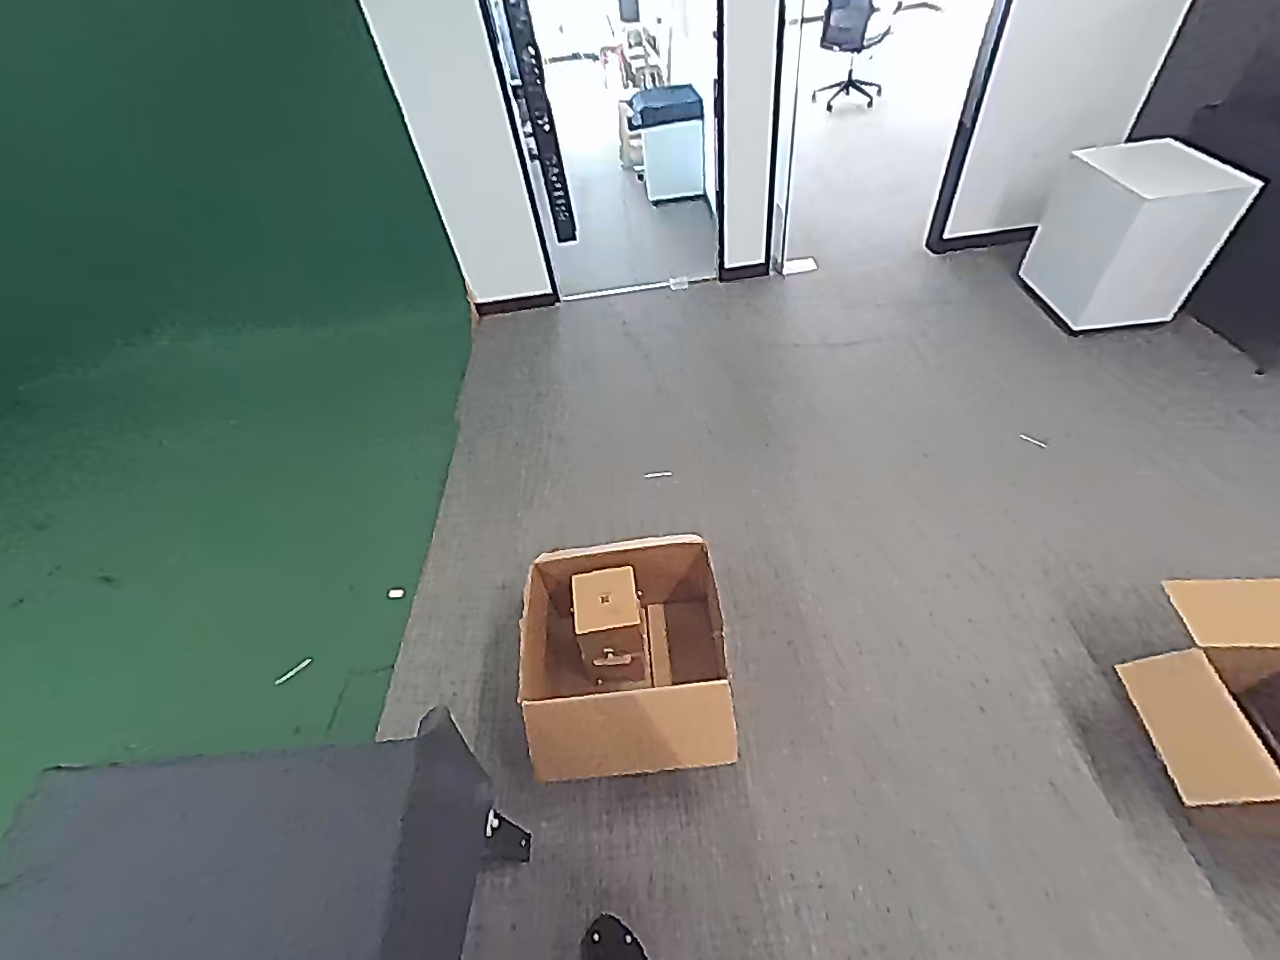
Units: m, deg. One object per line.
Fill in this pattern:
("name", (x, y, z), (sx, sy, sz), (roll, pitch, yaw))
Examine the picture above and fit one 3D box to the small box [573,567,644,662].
("small box", (-0.084, 0.358, 1.441), (0.168, 0.176, 0.179), (-9, 48, -3))
